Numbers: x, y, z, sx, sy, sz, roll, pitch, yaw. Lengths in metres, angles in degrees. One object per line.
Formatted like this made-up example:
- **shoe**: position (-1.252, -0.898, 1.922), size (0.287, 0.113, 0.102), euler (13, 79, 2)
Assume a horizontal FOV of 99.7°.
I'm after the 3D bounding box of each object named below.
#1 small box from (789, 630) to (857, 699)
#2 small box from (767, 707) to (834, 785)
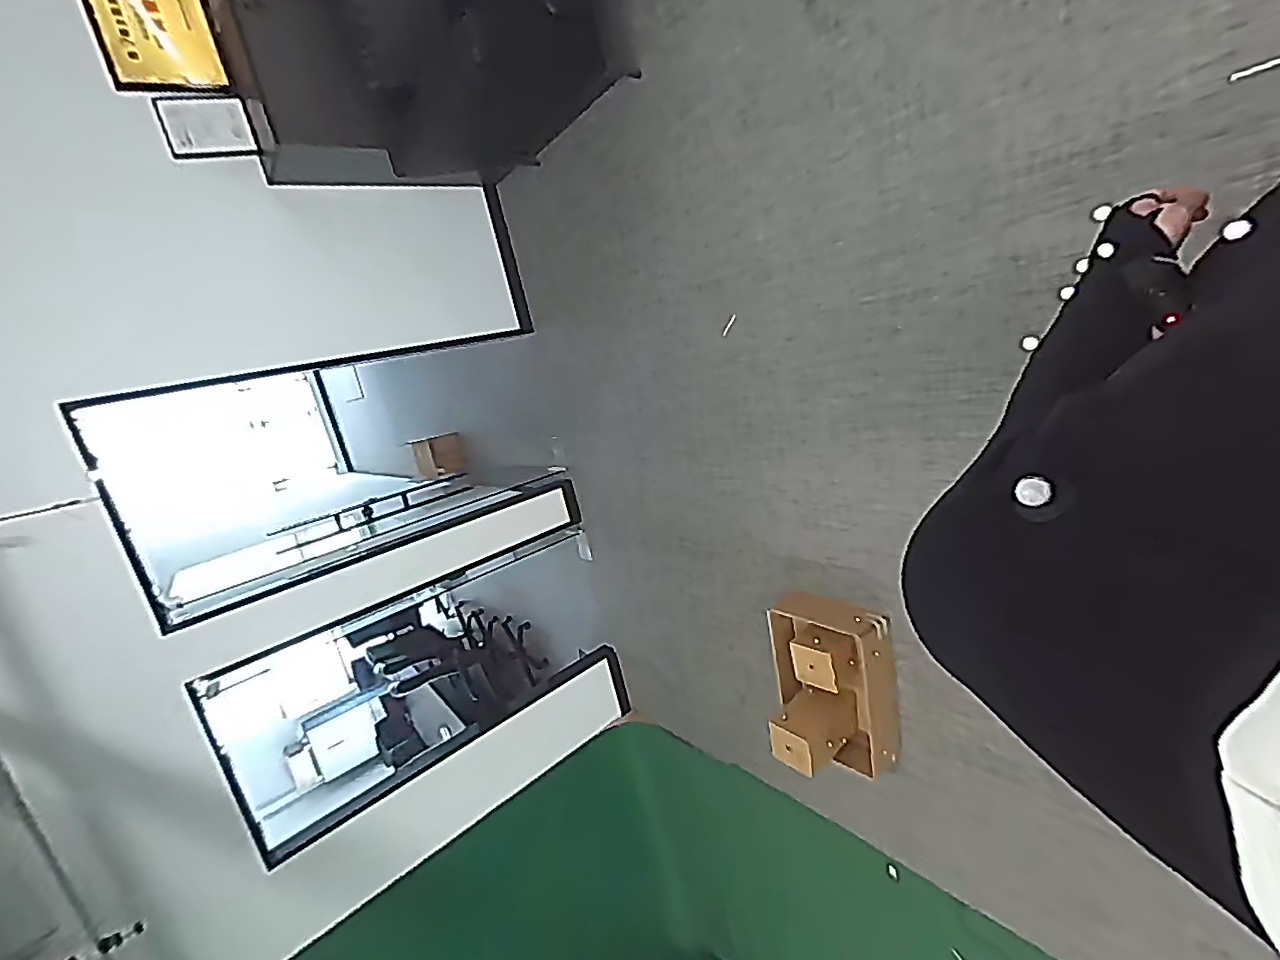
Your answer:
- **small box**: position (0.692, 0.689, 2.043), size (0.179, 0.176, 0.168), euler (1, 107, 50)
- **small box**: position (0.600, 0.982, 2.019), size (0.179, 0.176, 0.168), euler (8, 112, 50)
